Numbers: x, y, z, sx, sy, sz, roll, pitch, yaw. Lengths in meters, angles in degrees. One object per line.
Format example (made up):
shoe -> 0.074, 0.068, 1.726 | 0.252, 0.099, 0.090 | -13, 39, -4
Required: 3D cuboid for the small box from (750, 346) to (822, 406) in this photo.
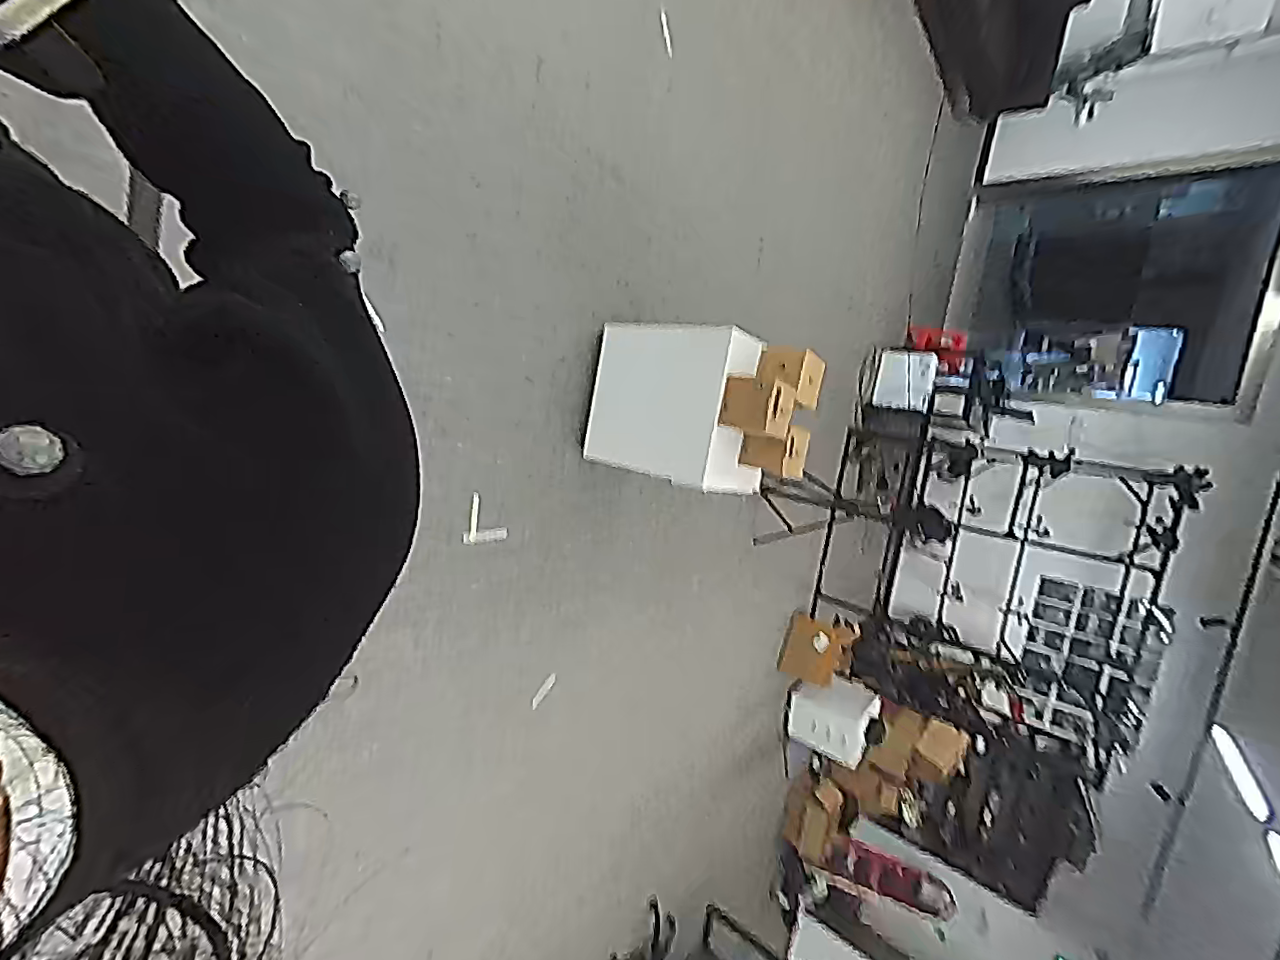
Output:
small box -> 0.502, -0.362, 1.868 | 0.179, 0.176, 0.168 | 9, 95, -52
